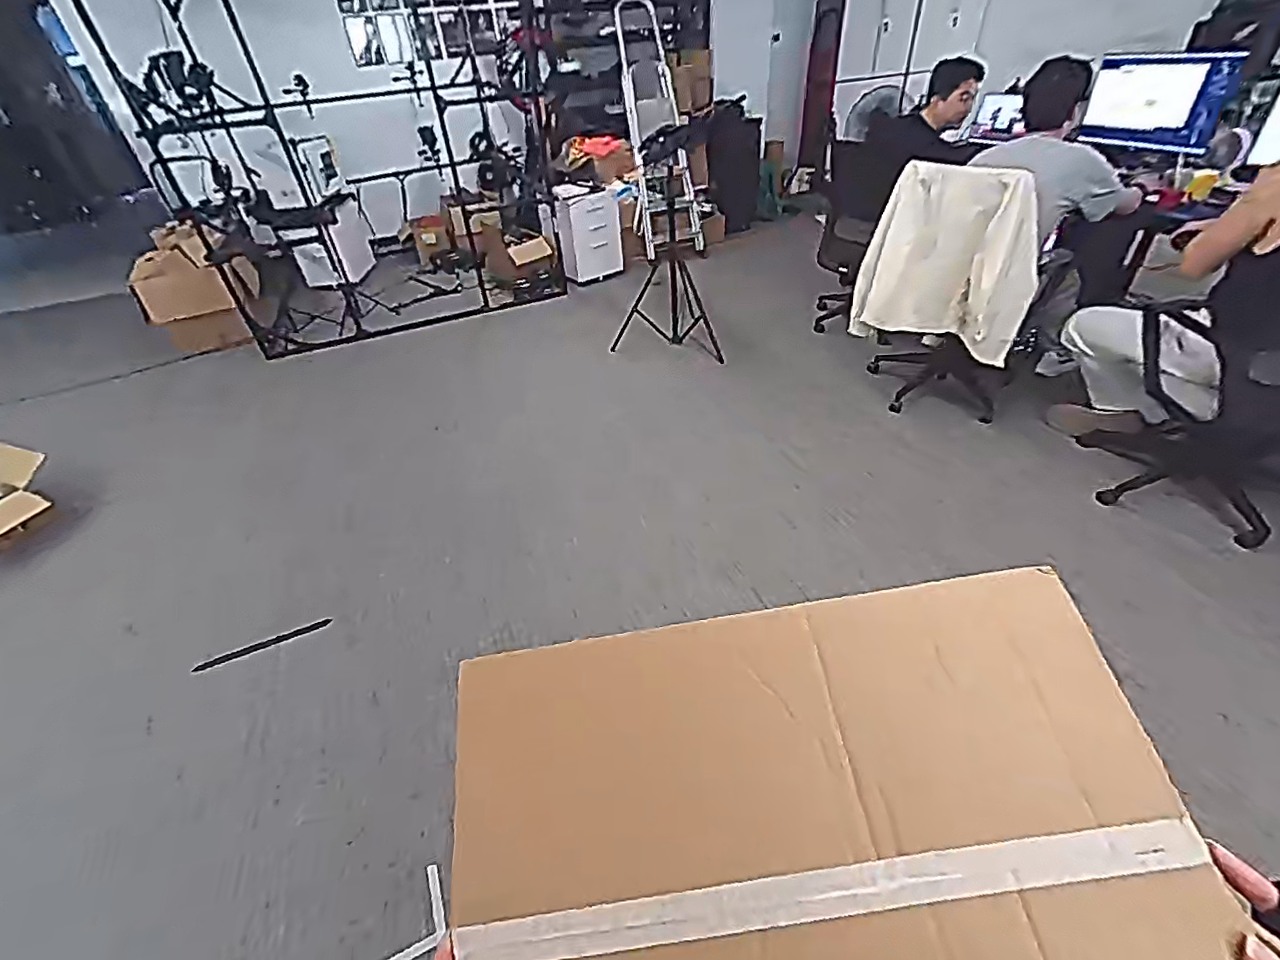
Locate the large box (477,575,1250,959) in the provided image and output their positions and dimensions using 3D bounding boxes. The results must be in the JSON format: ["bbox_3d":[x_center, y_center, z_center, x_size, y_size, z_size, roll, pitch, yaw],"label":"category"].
[{"bbox_3d":[0.118,0.303,0.429,0.408,0.320,0.320,-10,61,3],"label":"large box"}]
